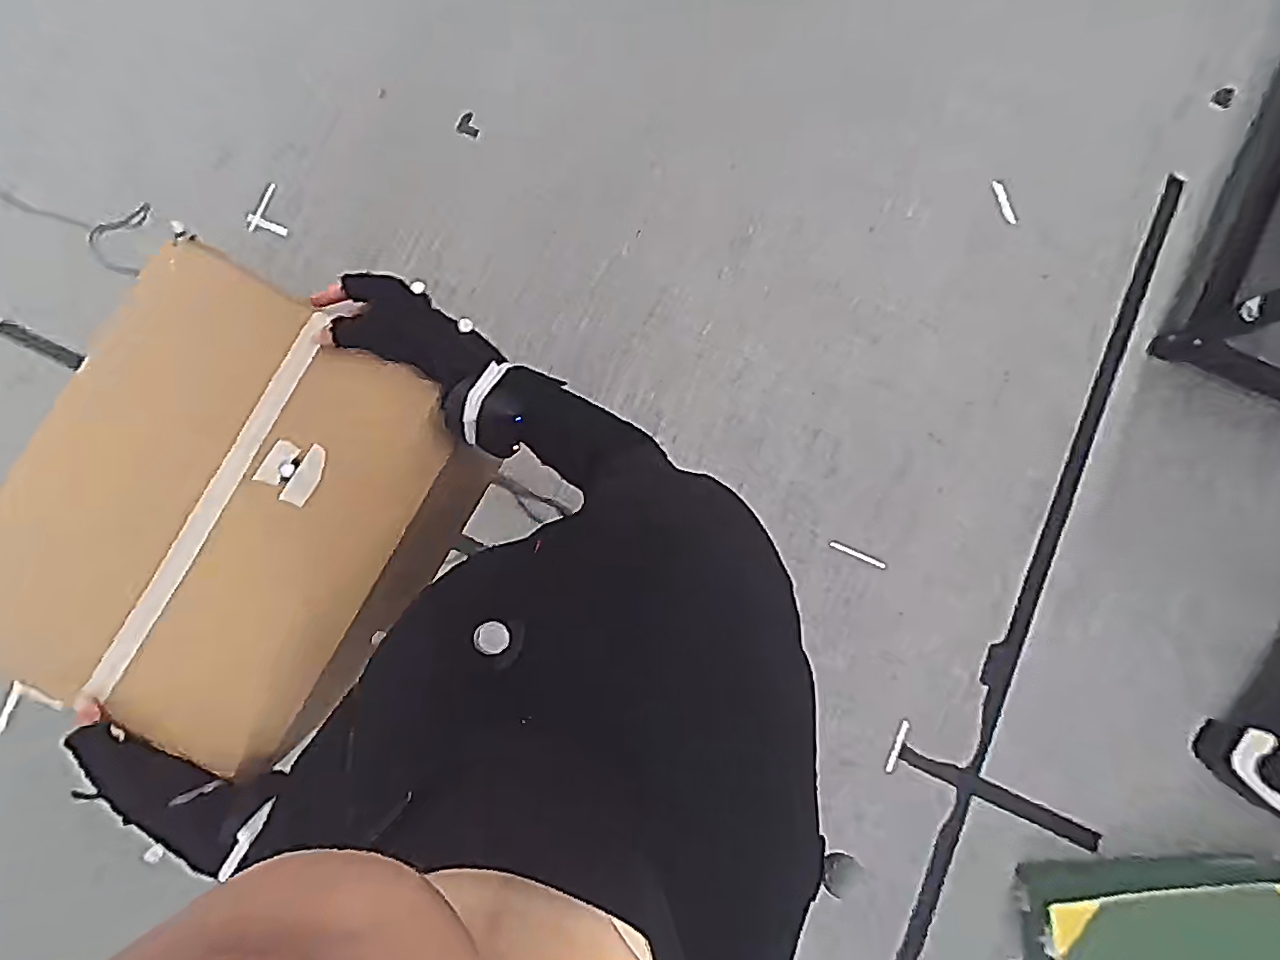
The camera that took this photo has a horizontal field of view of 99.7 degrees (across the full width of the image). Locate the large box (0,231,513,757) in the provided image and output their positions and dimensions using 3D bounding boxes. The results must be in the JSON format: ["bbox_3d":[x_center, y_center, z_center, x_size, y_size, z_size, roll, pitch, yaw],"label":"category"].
[{"bbox_3d":[-0.397,0.017,0.646,0.320,0.320,0.408,29,86,-6],"label":"large box"}]
